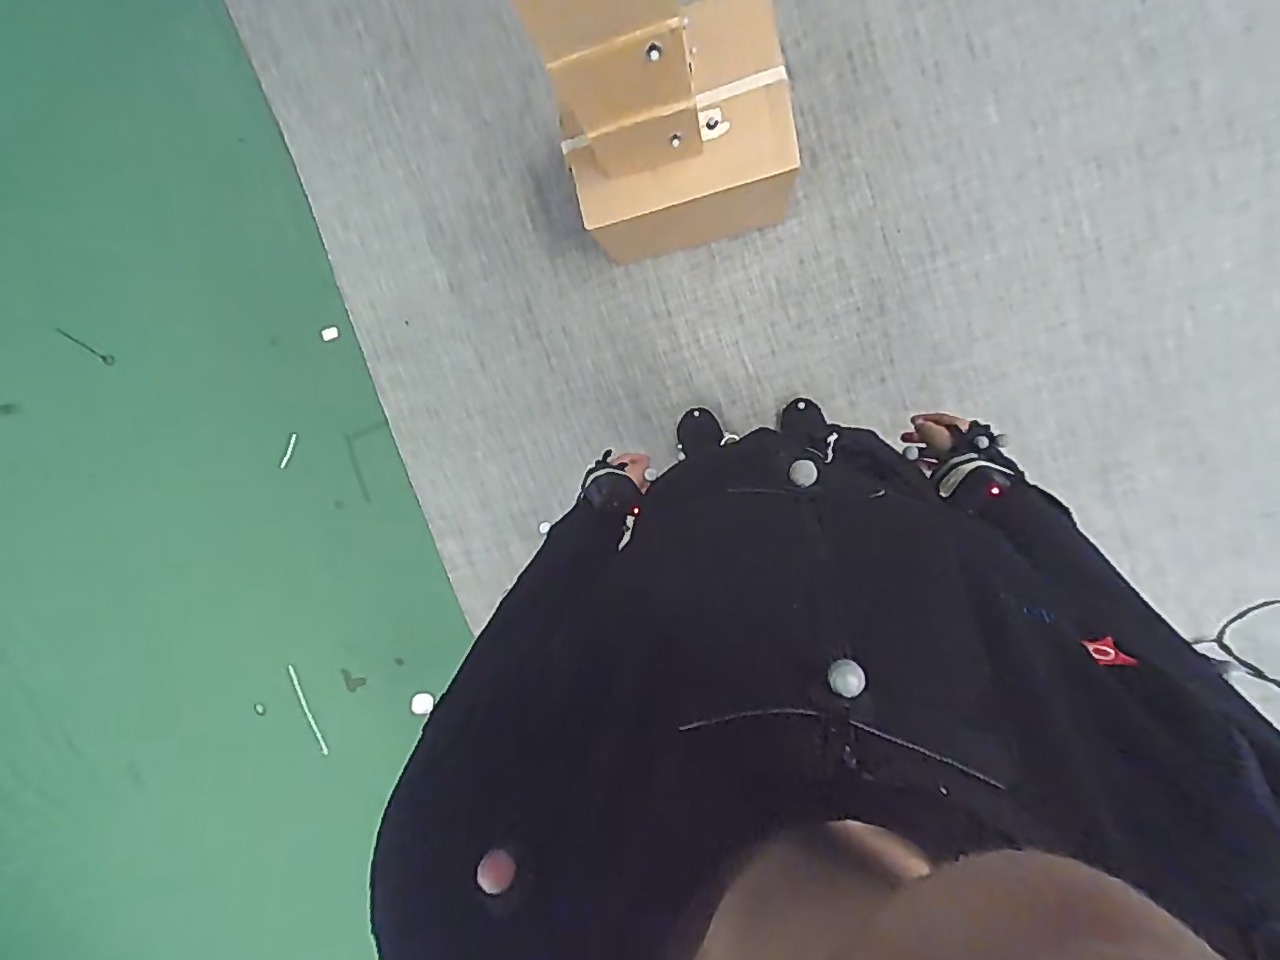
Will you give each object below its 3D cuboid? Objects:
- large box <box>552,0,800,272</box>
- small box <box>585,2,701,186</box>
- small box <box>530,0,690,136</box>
[{"bbox_3d":[0.082,-0.670,1.119,0.408,0.320,0.320,-12,97,11],"label":"large box"},{"bbox_3d":[0.001,-0.619,0.892,0.179,0.176,0.168,-11,95,13],"label":"small box"},{"bbox_3d":[-0.037,-0.609,0.734,0.179,0.176,0.168,-12,95,11],"label":"small box"}]
